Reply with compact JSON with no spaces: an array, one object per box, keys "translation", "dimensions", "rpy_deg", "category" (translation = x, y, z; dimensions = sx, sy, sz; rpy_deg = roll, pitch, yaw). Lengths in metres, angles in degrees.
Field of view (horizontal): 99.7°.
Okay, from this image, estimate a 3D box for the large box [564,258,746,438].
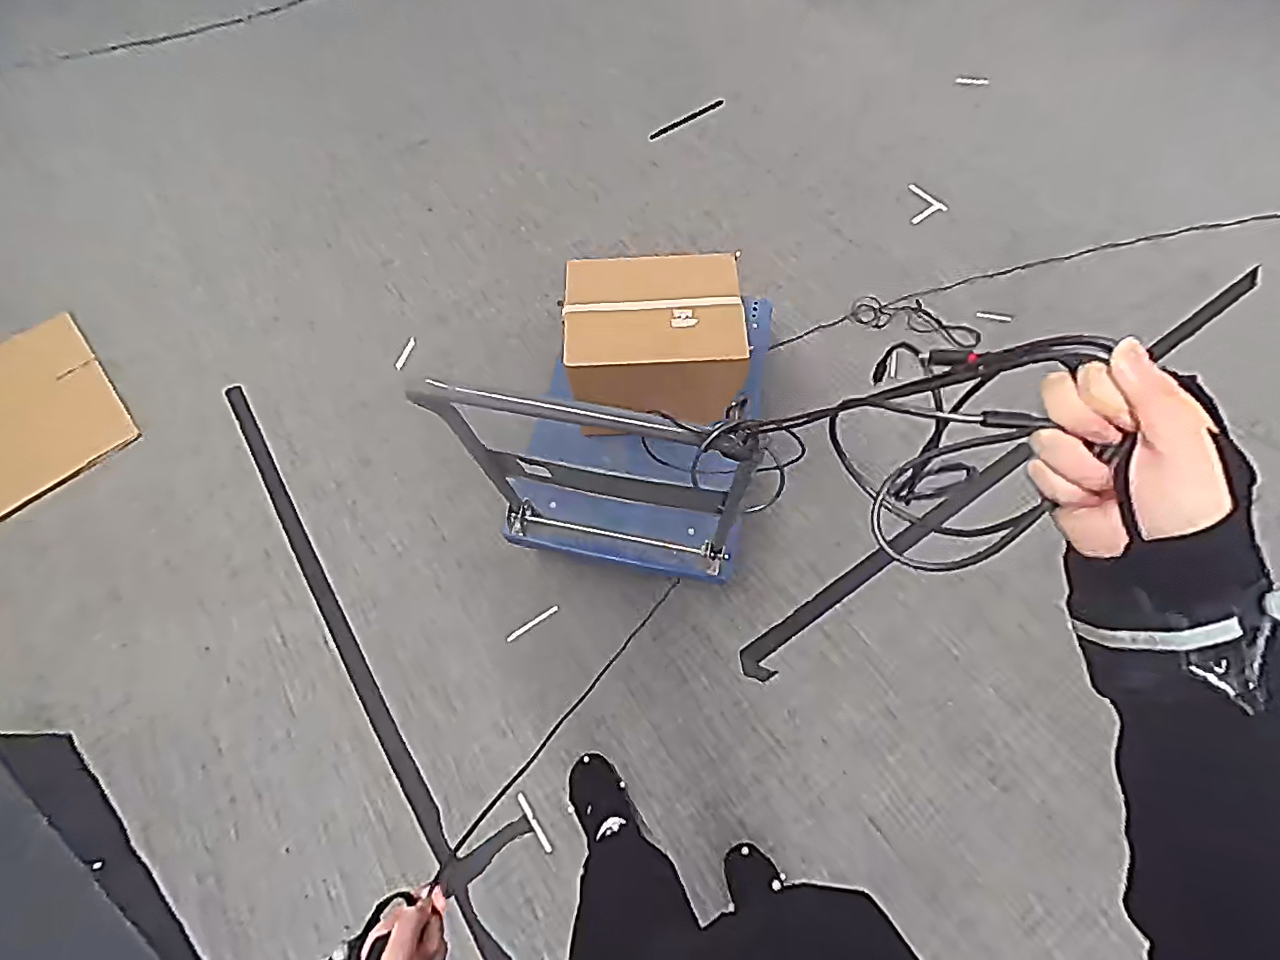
[{"translation":[0.029,-0.320,1.362],"dimensions":[0.408,0.320,0.320],"rpy_deg":[-2,65,0],"category":"large box"}]
